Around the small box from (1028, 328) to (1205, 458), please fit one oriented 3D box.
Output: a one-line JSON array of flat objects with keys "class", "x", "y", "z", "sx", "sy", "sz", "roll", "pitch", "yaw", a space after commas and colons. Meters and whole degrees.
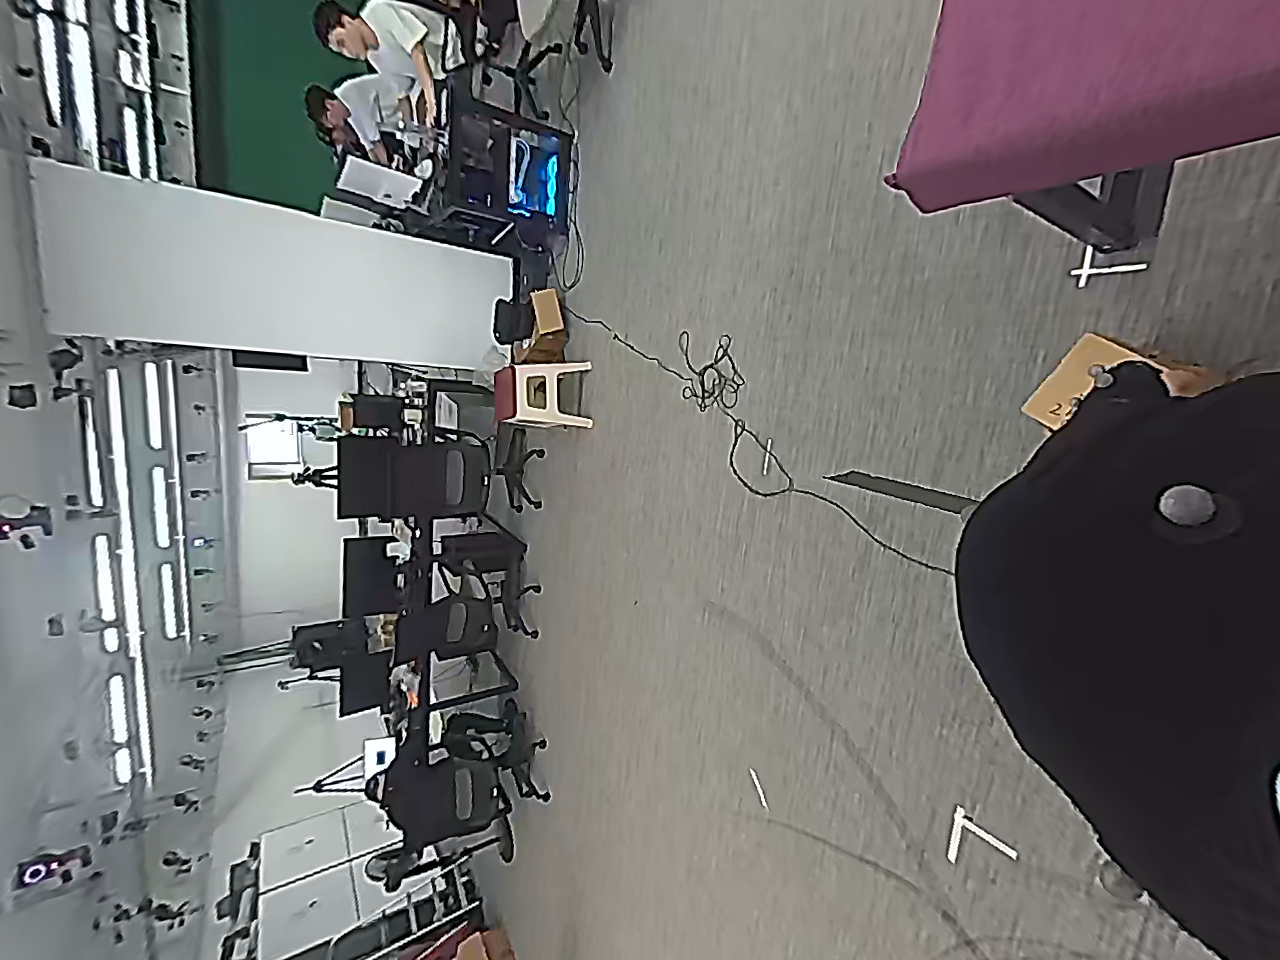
[{"class": "small box", "x": 0.889, "y": -0.160, "z": 1.009, "sx": 0.168, "sy": 0.176, "sz": 0.179, "roll": 55, "pitch": 136, "yaw": 39}]
